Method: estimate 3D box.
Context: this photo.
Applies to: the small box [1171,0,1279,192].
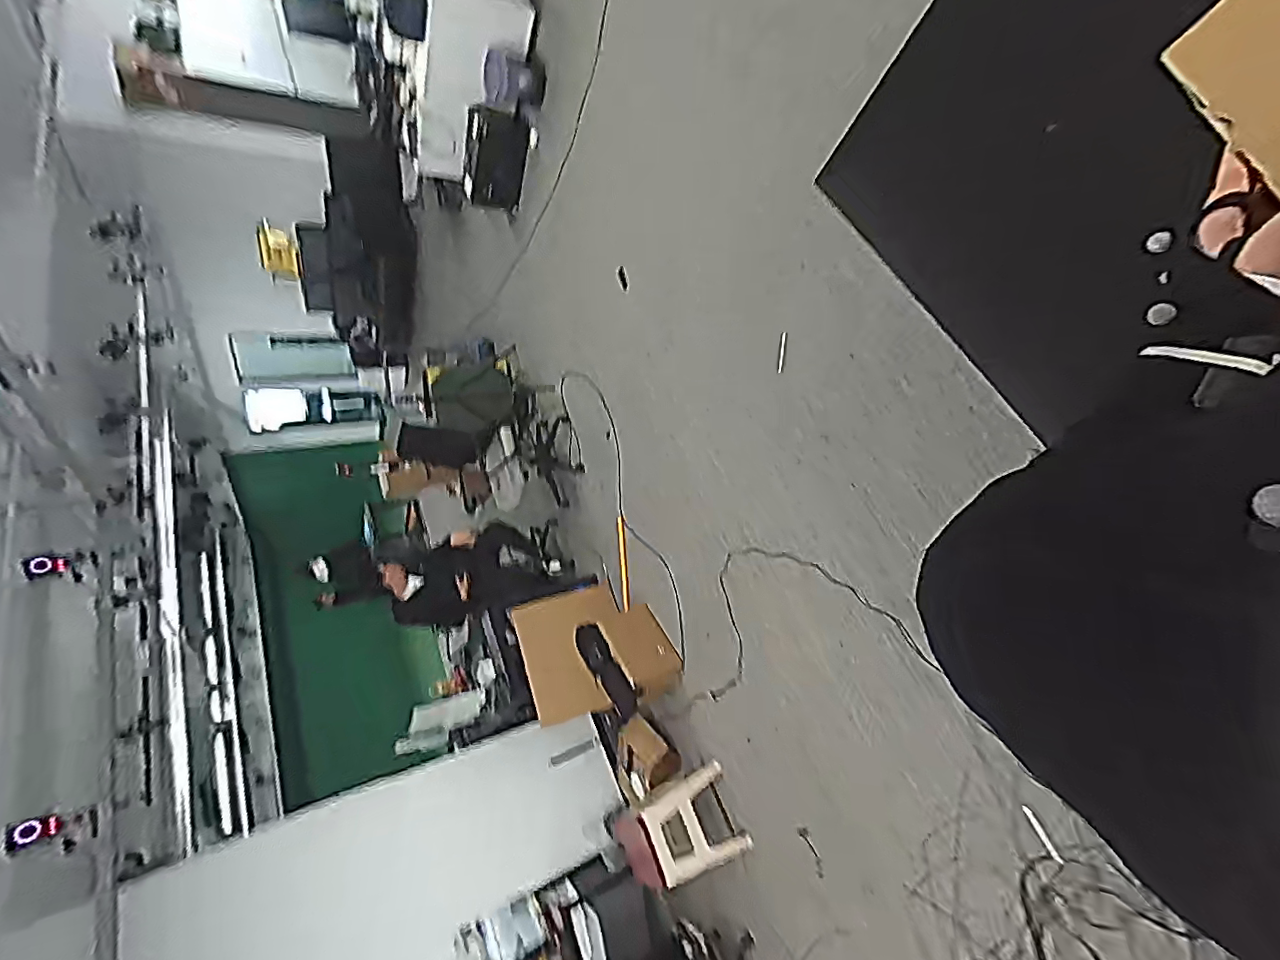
[{"bbox_3d":[0.552,-0.318,0.376,0.179,0.176,0.168,-46,58,58],"label":"small box"}]
